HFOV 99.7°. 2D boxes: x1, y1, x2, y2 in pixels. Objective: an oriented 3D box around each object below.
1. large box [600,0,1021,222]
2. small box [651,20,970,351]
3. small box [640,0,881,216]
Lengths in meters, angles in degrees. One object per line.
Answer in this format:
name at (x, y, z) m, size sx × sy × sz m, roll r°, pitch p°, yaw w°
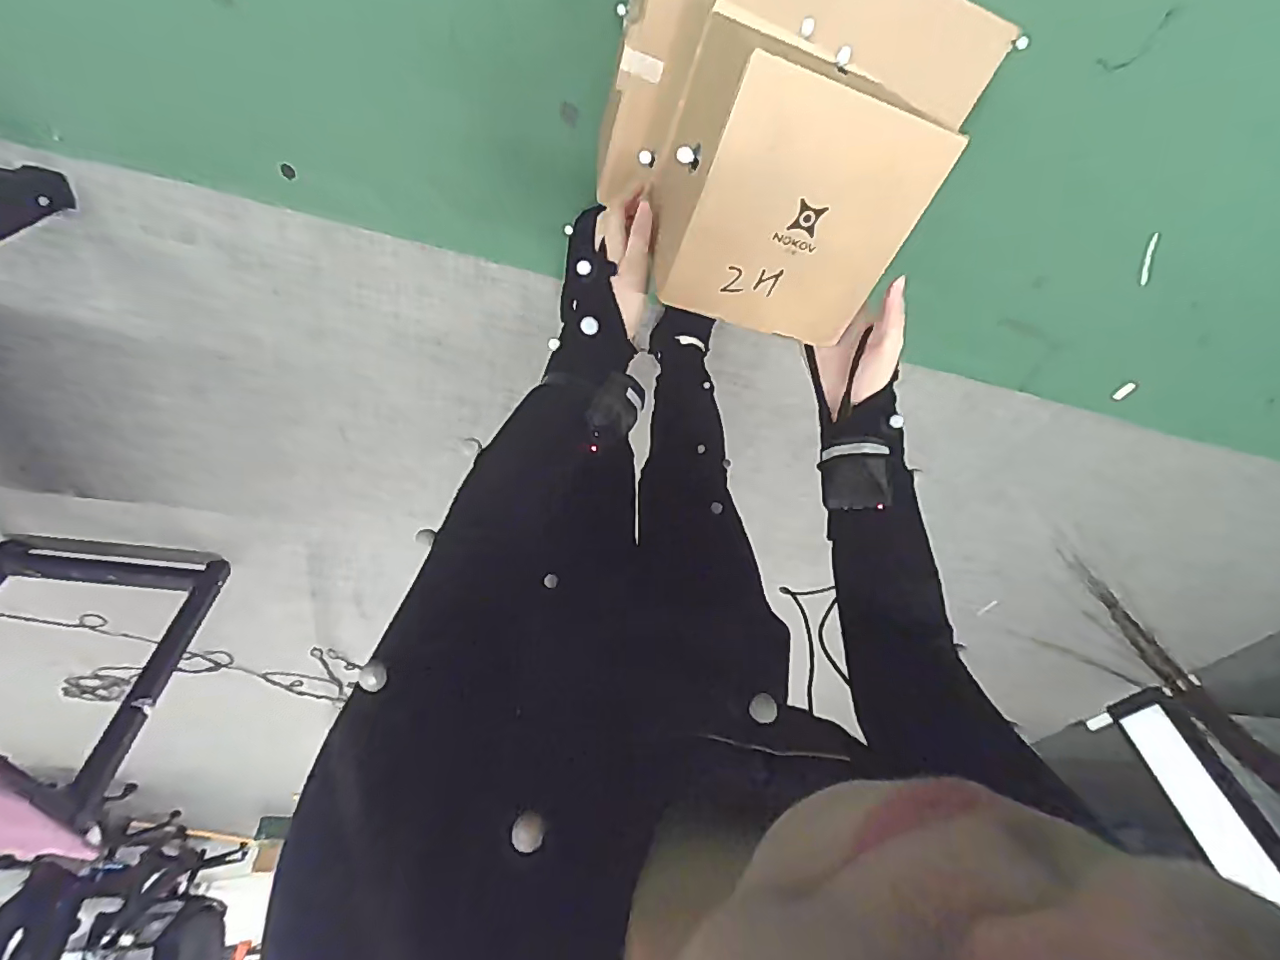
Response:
large box at (0.171, -0.529, 0.741) m, size 0.408 × 0.320 × 0.320 m, roll 10°, pitch 134°, yaw -15°
small box at (0.112, -0.242, 0.448) m, size 0.168 × 0.176 × 0.179 m, roll 11°, pitch 134°, yaw -15°
small box at (0.102, -0.364, 0.559) m, size 0.168 × 0.176 × 0.179 m, roll 12°, pitch 134°, yaw -16°
